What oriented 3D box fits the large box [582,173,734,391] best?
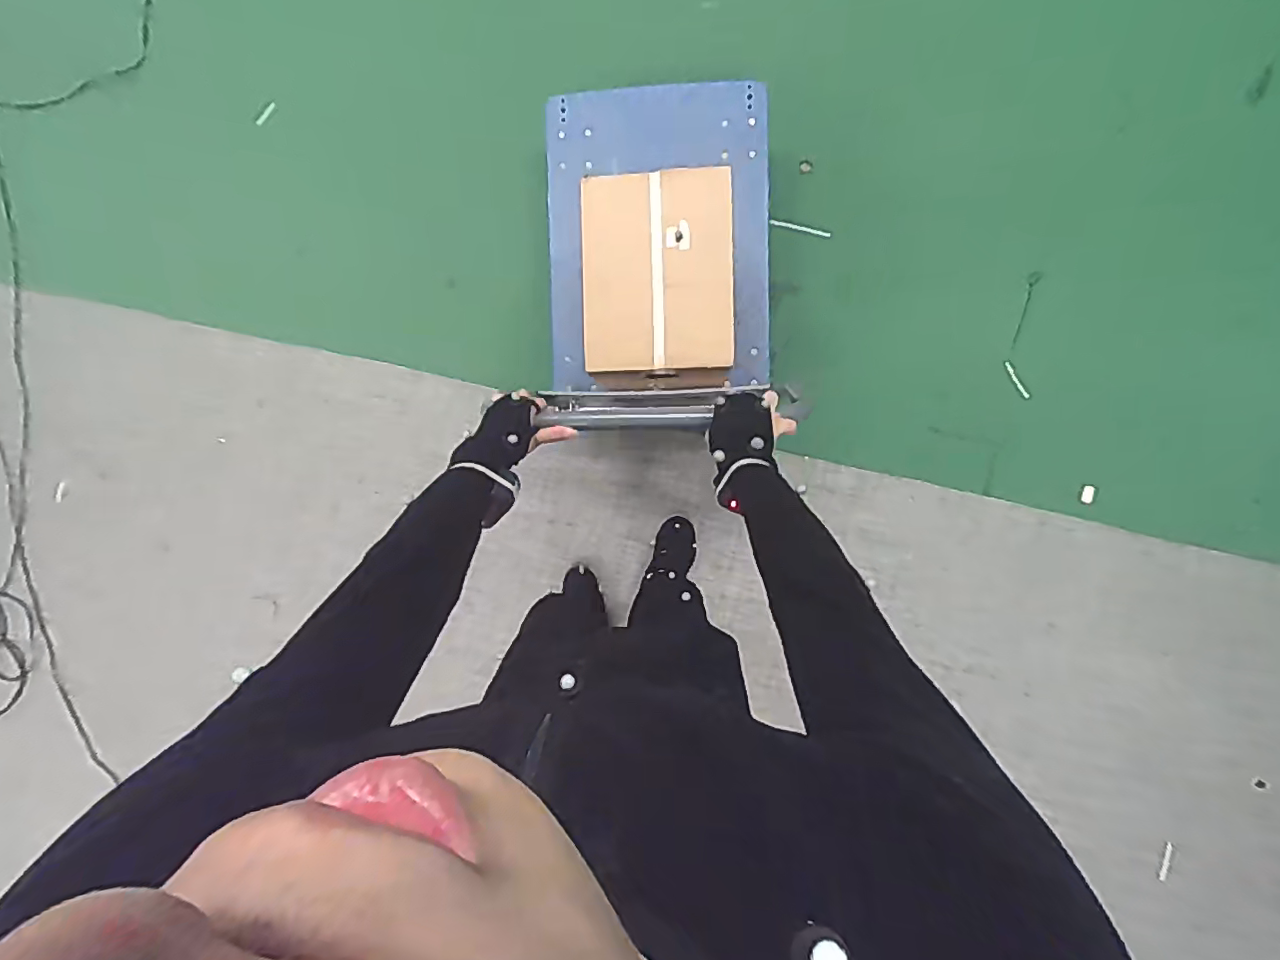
[{"bbox_3d":[0.052,-0.434,1.276,0.320,0.320,0.408,-1,92,5],"label":"large box"}]
